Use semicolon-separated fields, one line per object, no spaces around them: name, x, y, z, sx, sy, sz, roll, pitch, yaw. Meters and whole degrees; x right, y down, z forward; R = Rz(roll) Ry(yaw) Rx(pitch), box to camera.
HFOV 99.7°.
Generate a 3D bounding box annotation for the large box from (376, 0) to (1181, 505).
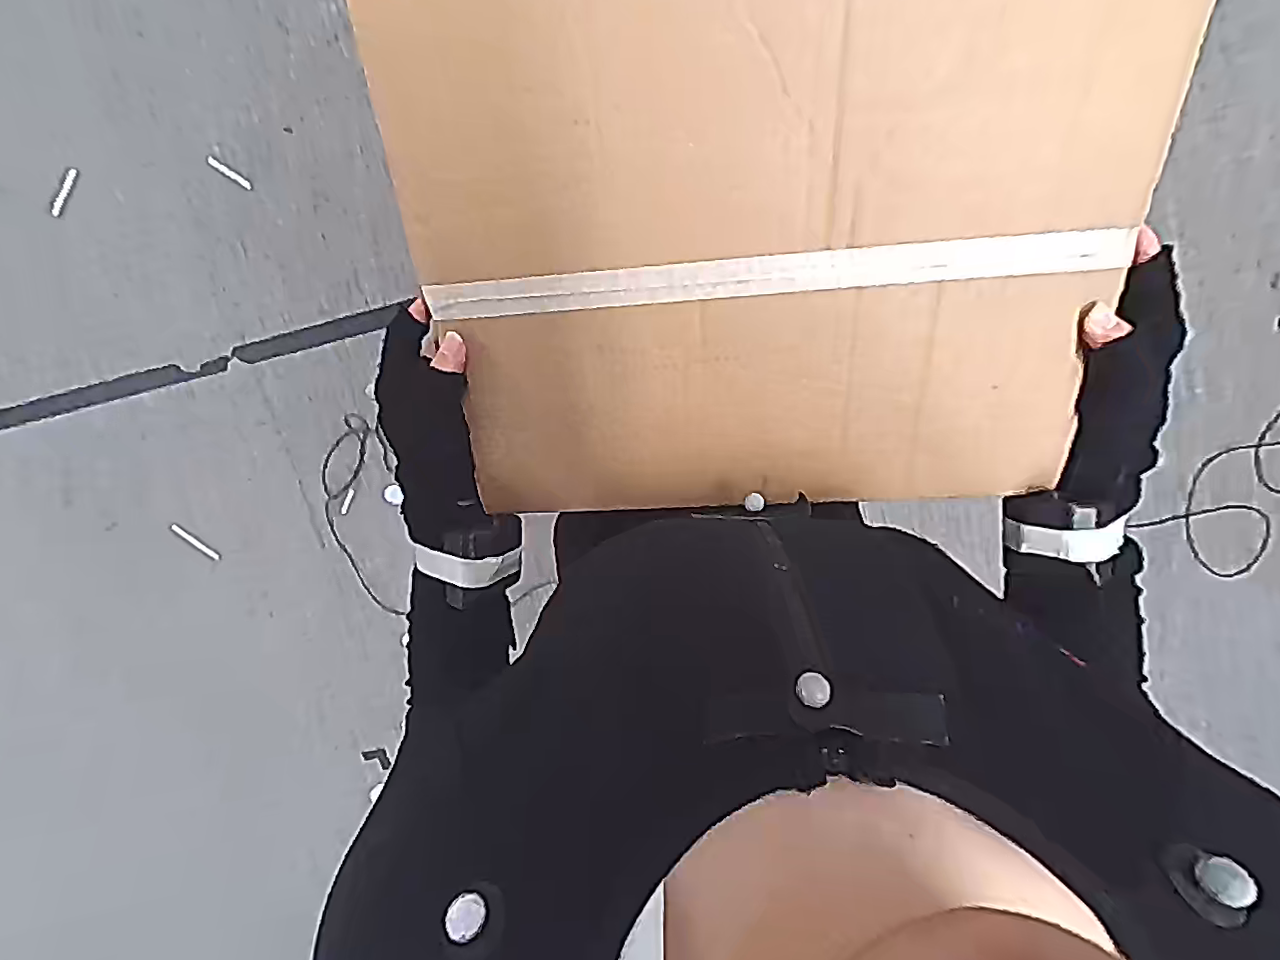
large box;0.078;-0.196;0.460;0.408;0.320;0.320;-2;120;5
